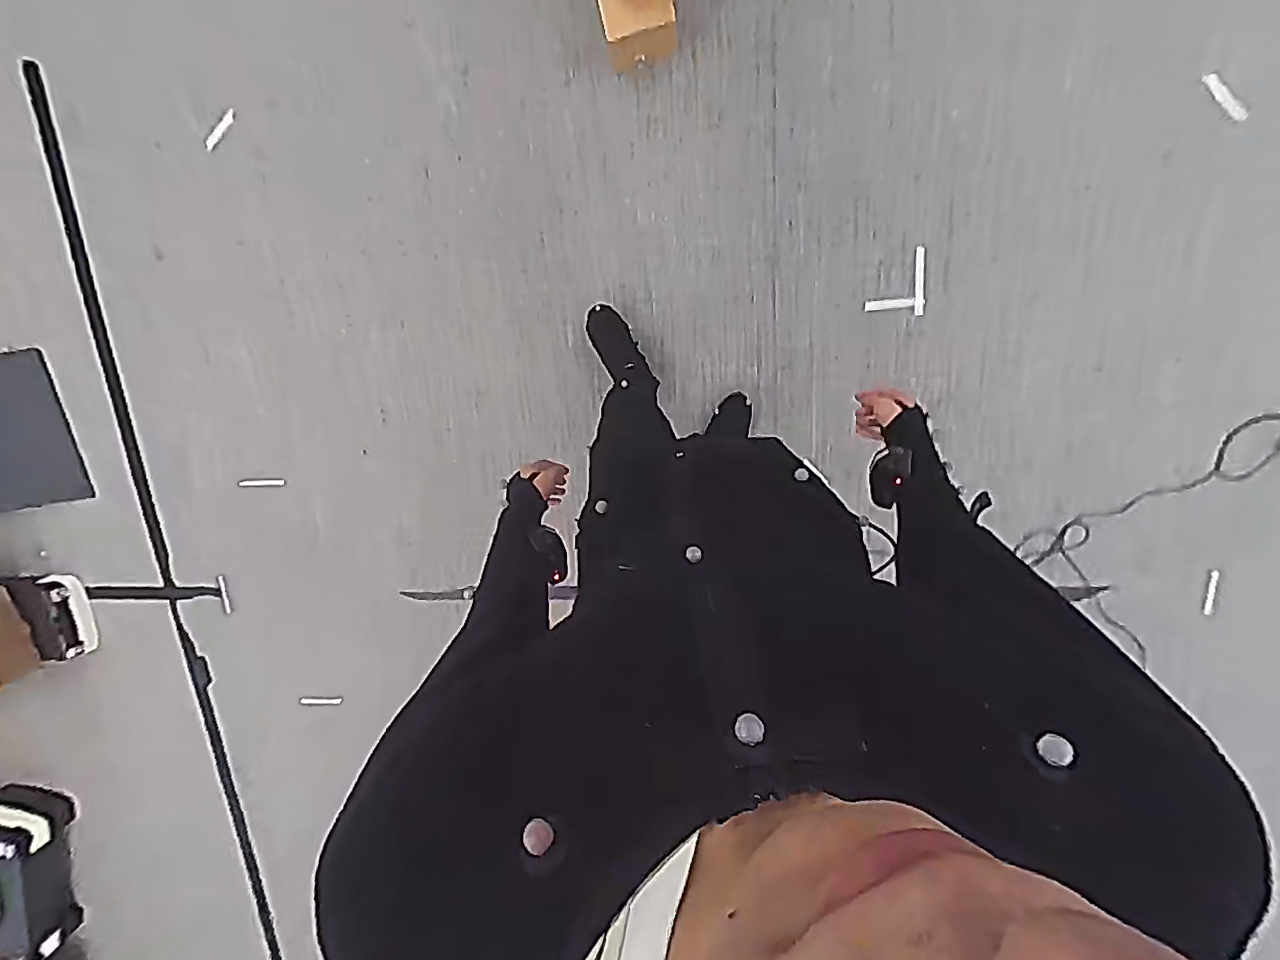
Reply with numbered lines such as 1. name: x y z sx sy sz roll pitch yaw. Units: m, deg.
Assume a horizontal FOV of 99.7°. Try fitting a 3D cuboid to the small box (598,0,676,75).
1. small box: -0.010 -1.124 1.293 0.168 0.176 0.179 -12 102 8
